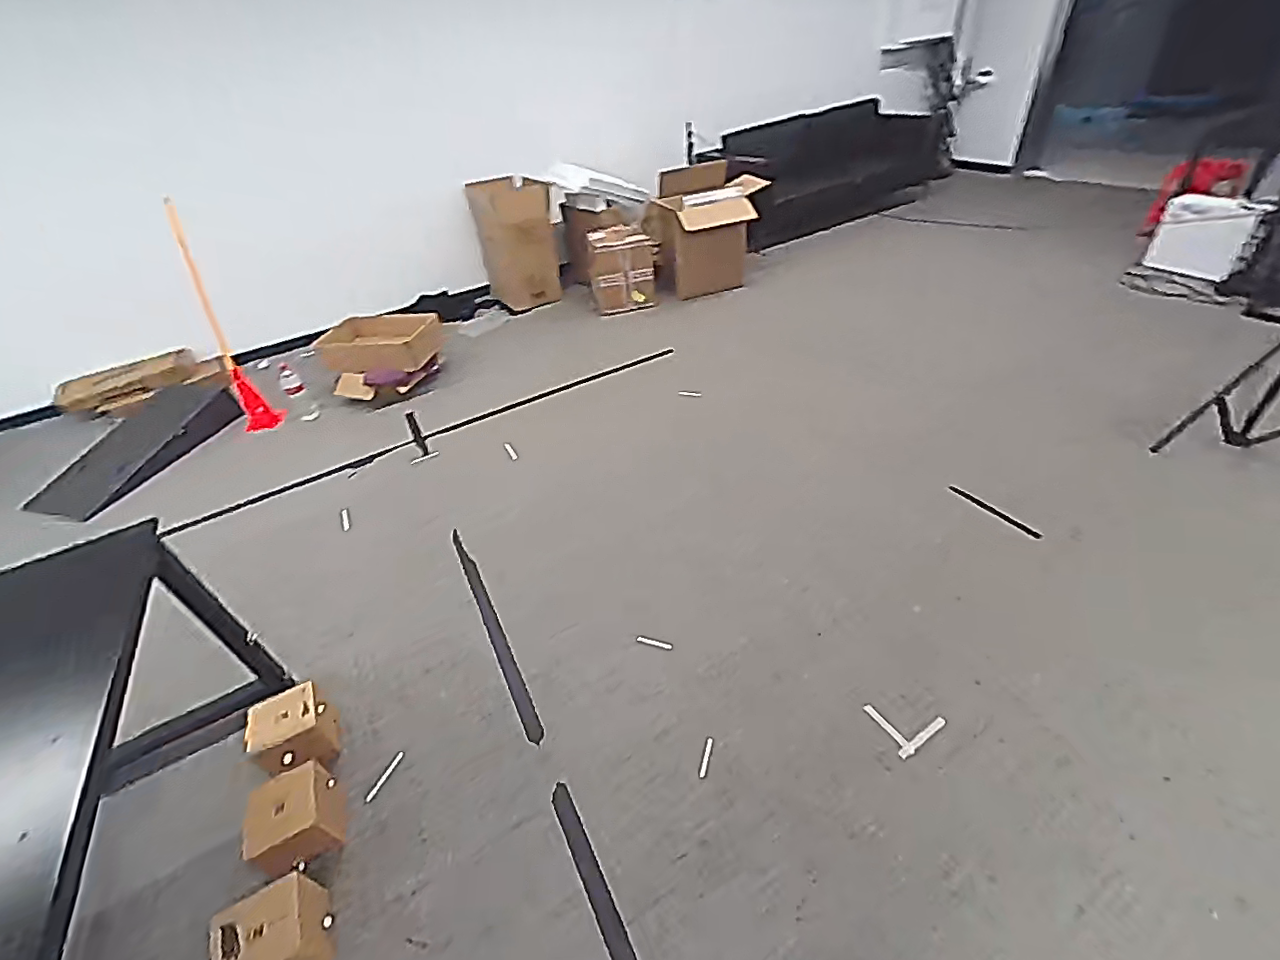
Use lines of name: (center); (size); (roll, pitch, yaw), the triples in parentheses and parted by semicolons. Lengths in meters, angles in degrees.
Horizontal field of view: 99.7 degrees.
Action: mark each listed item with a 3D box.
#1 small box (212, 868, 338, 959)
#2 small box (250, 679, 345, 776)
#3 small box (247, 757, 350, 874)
small box: (-0.800, 1.015, 1.193); (0.179, 0.176, 0.168); (-23, 42, -19)
small box: (-0.996, 0.729, 1.579); (0.179, 0.176, 0.168); (-24, 42, -19)
small box: (-0.874, 0.867, 1.391); (0.168, 0.176, 0.179); (-25, 42, -18)
